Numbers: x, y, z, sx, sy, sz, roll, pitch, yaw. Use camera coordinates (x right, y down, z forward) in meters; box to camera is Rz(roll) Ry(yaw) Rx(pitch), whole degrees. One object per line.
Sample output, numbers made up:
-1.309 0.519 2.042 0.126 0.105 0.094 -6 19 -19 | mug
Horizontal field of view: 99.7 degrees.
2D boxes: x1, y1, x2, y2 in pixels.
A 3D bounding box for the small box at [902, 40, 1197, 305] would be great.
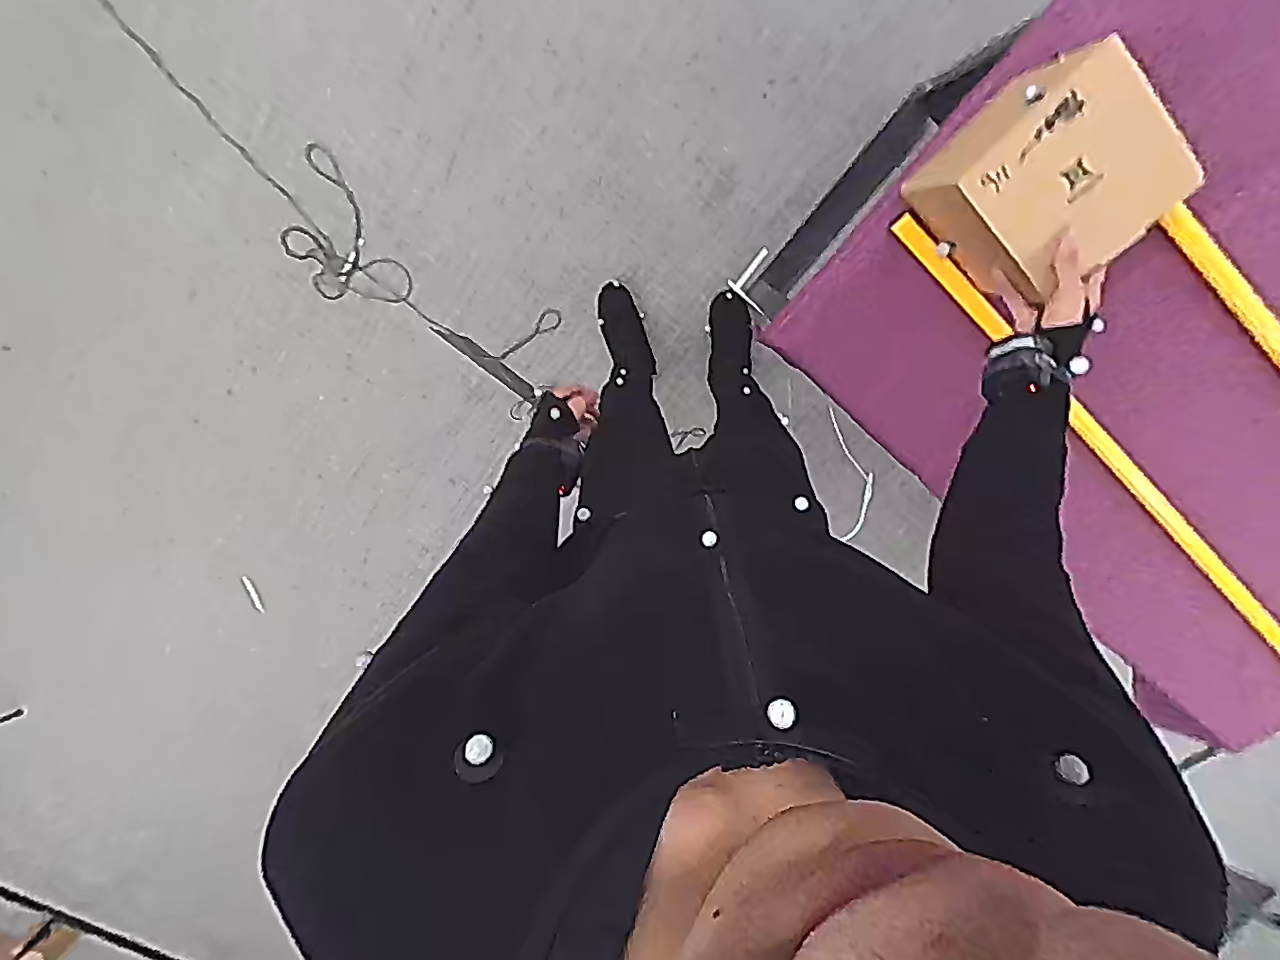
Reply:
0.438 -0.331 0.609 0.179 0.176 0.168 42 111 -15 | small box
